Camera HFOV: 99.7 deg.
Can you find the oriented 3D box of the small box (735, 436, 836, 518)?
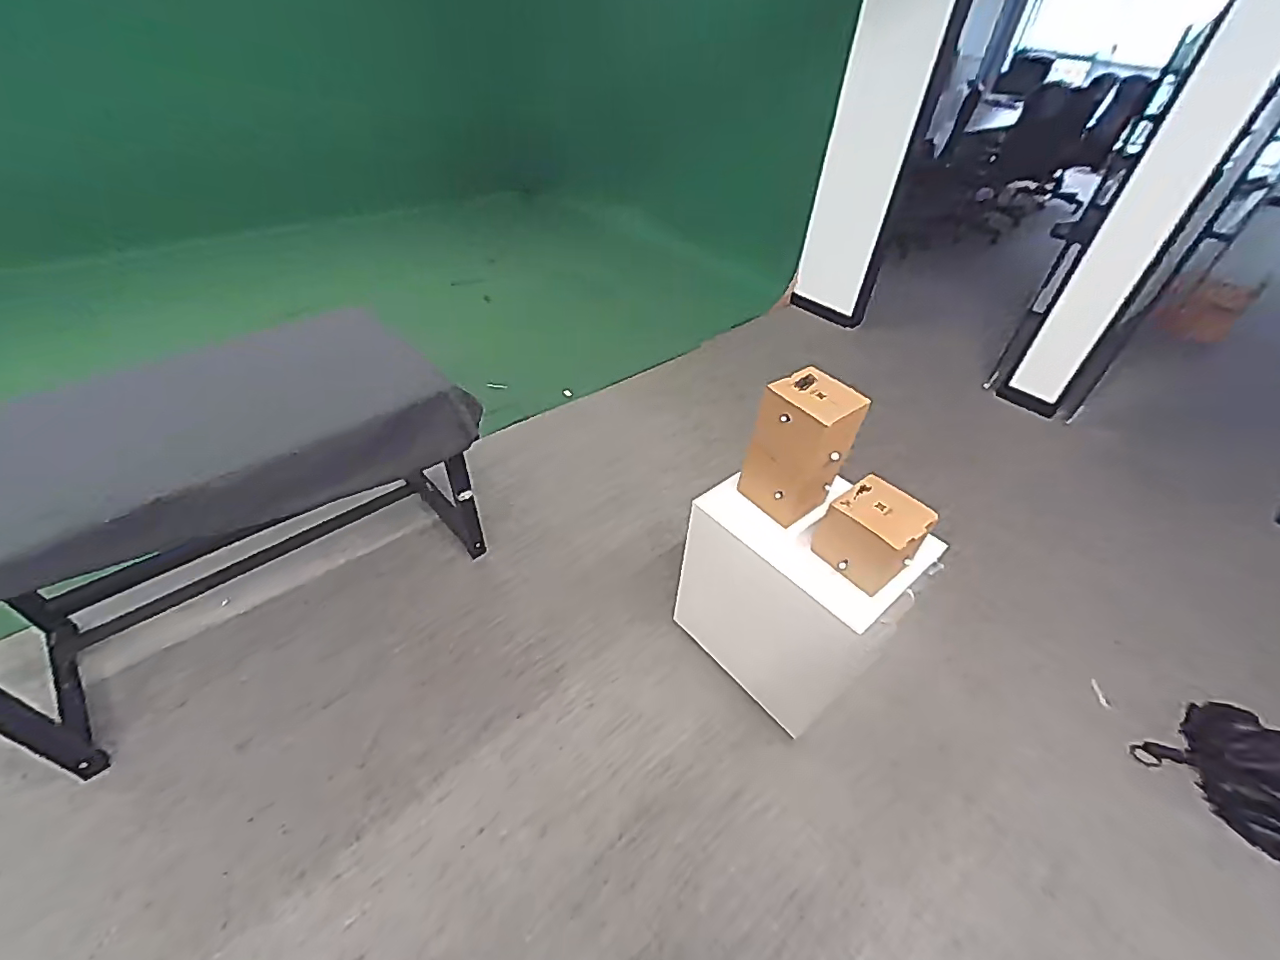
[{"bbox_3d":[0.368,-0.026,1.381,0.168,0.176,0.179,-27,52,-31],"label":"small box"}]

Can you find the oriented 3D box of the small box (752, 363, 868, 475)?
[{"bbox_3d":[0.388,-0.143,1.267,0.168,0.176,0.179,-27,54,-30],"label":"small box"}]

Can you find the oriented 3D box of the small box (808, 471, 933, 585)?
[{"bbox_3d":[0.523,0.117,1.245,0.168,0.176,0.179,-27,53,-30],"label":"small box"}]
